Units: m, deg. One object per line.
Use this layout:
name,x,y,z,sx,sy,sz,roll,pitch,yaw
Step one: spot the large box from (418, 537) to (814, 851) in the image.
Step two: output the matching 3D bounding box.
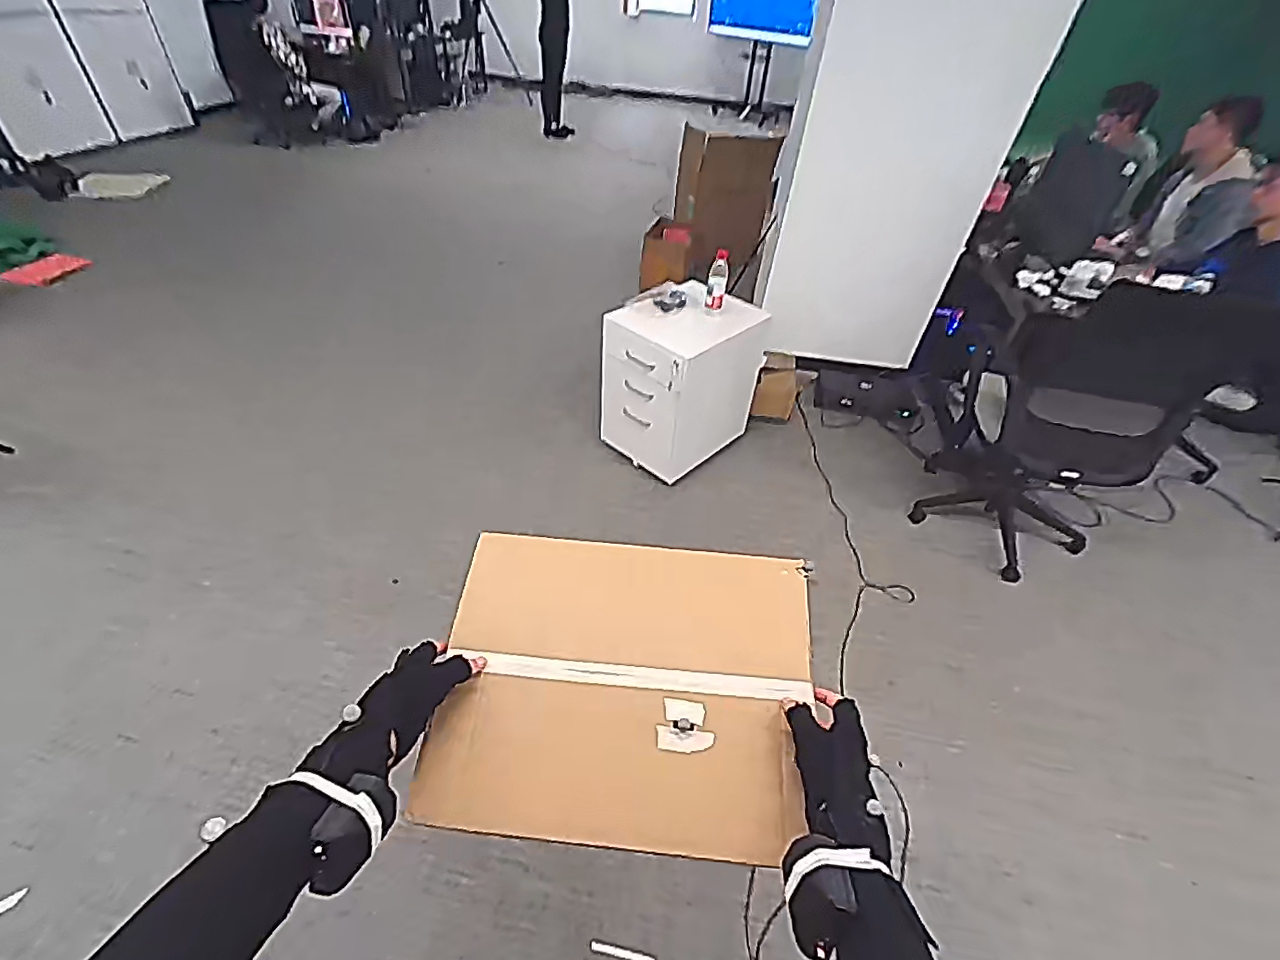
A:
large box,-0.017,0.296,0.736,0.408,0.320,0.320,5,59,3
